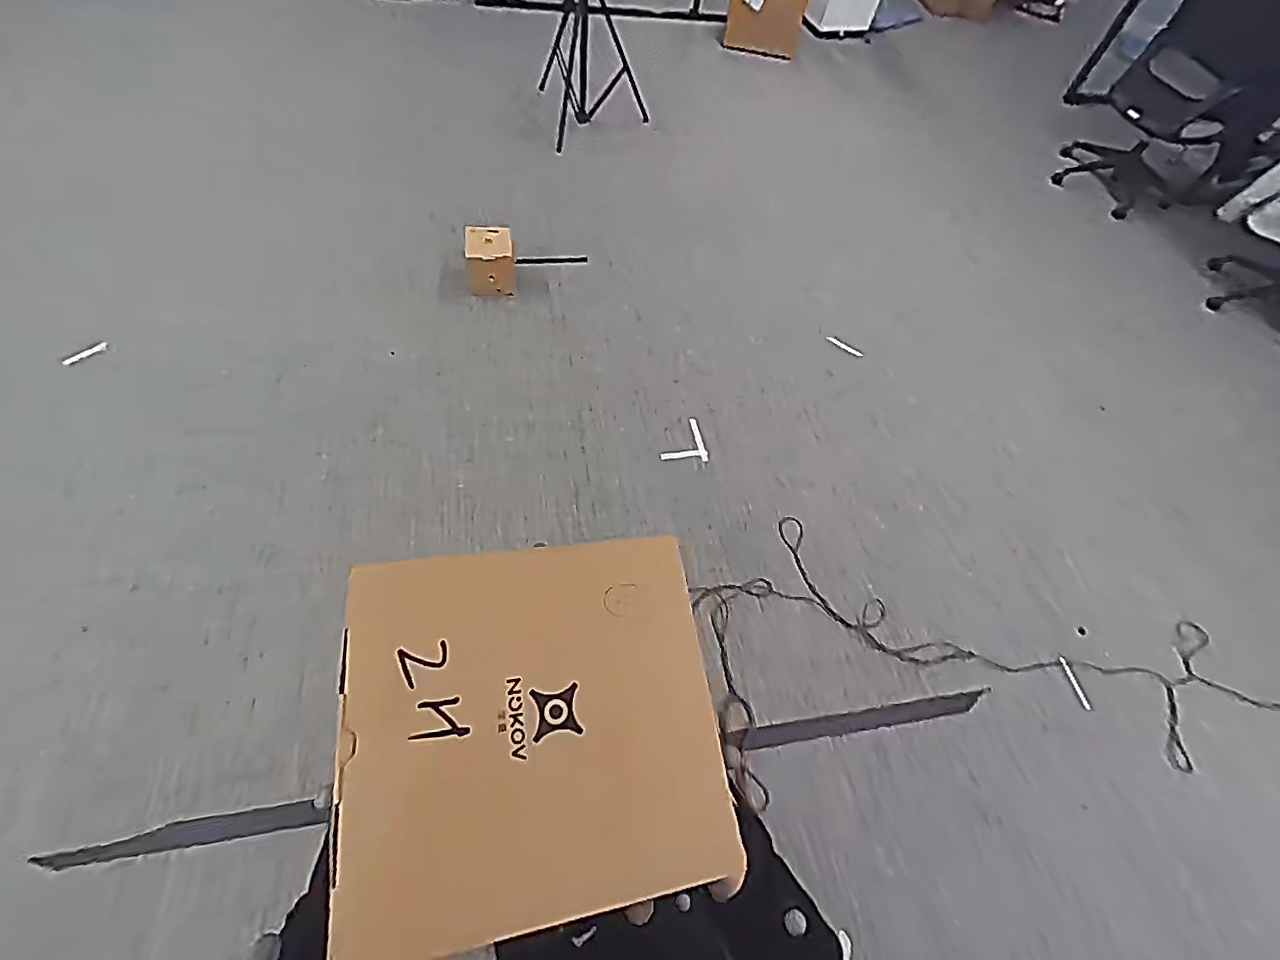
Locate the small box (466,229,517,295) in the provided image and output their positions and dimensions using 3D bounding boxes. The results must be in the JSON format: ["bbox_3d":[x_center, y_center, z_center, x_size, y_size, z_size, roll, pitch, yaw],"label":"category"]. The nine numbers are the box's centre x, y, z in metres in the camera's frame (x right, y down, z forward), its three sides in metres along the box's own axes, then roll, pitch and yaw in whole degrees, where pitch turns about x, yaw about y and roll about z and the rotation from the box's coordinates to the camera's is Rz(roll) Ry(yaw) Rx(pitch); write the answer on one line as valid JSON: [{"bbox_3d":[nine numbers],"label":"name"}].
[{"bbox_3d":[-0.557,-0.818,2.040,0.168,0.176,0.179,-4,60,-10],"label":"small box"}]

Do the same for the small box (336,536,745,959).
[{"bbox_3d":[-0.062,0.144,0.331,0.179,0.176,0.168,-5,65,-14],"label":"small box"}]
